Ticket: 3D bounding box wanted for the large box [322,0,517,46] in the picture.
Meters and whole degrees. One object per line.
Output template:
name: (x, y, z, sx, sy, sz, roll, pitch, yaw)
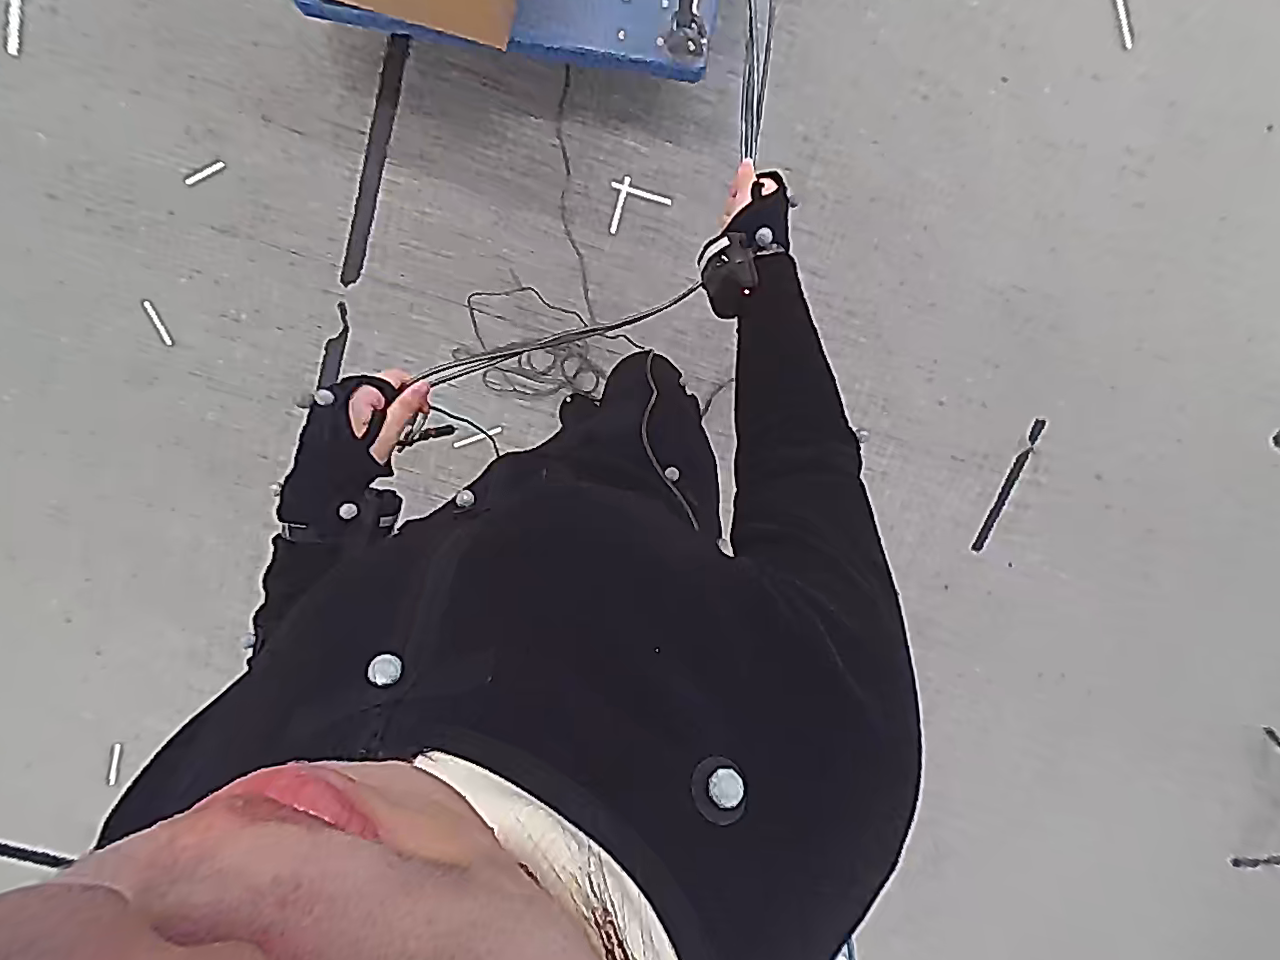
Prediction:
large box: (-0.426, -1.038, 0.925, 0.408, 0.320, 0.320, 13, 100, -3)
